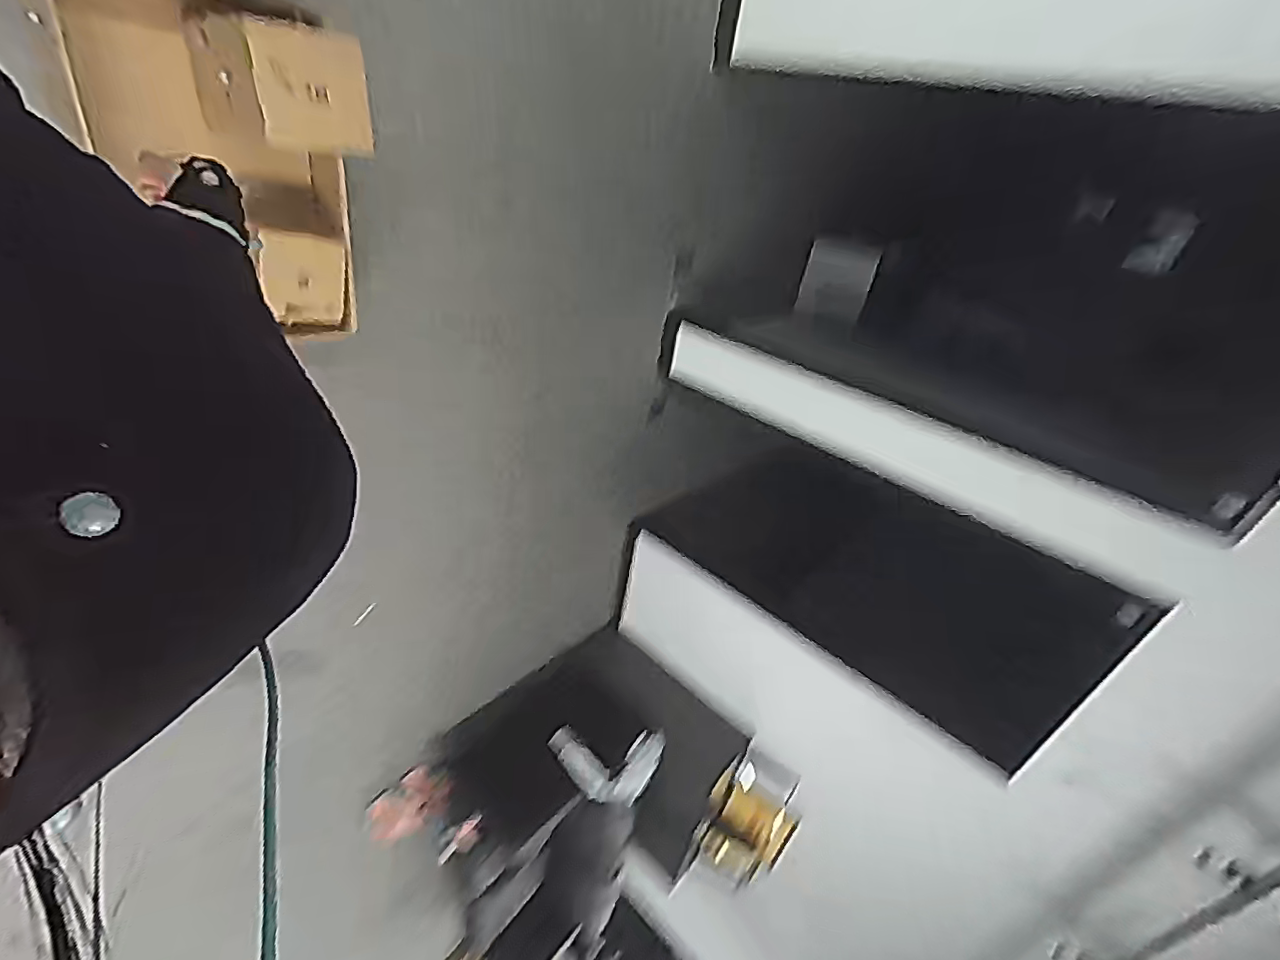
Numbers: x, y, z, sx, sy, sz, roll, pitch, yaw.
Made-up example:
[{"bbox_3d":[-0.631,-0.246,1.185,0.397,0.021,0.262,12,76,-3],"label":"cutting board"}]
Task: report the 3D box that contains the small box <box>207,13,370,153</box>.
[{"bbox_3d":[-0.592,-0.673,0.922,0.179,0.176,0.168,-24,135,-42],"label":"small box"}]
